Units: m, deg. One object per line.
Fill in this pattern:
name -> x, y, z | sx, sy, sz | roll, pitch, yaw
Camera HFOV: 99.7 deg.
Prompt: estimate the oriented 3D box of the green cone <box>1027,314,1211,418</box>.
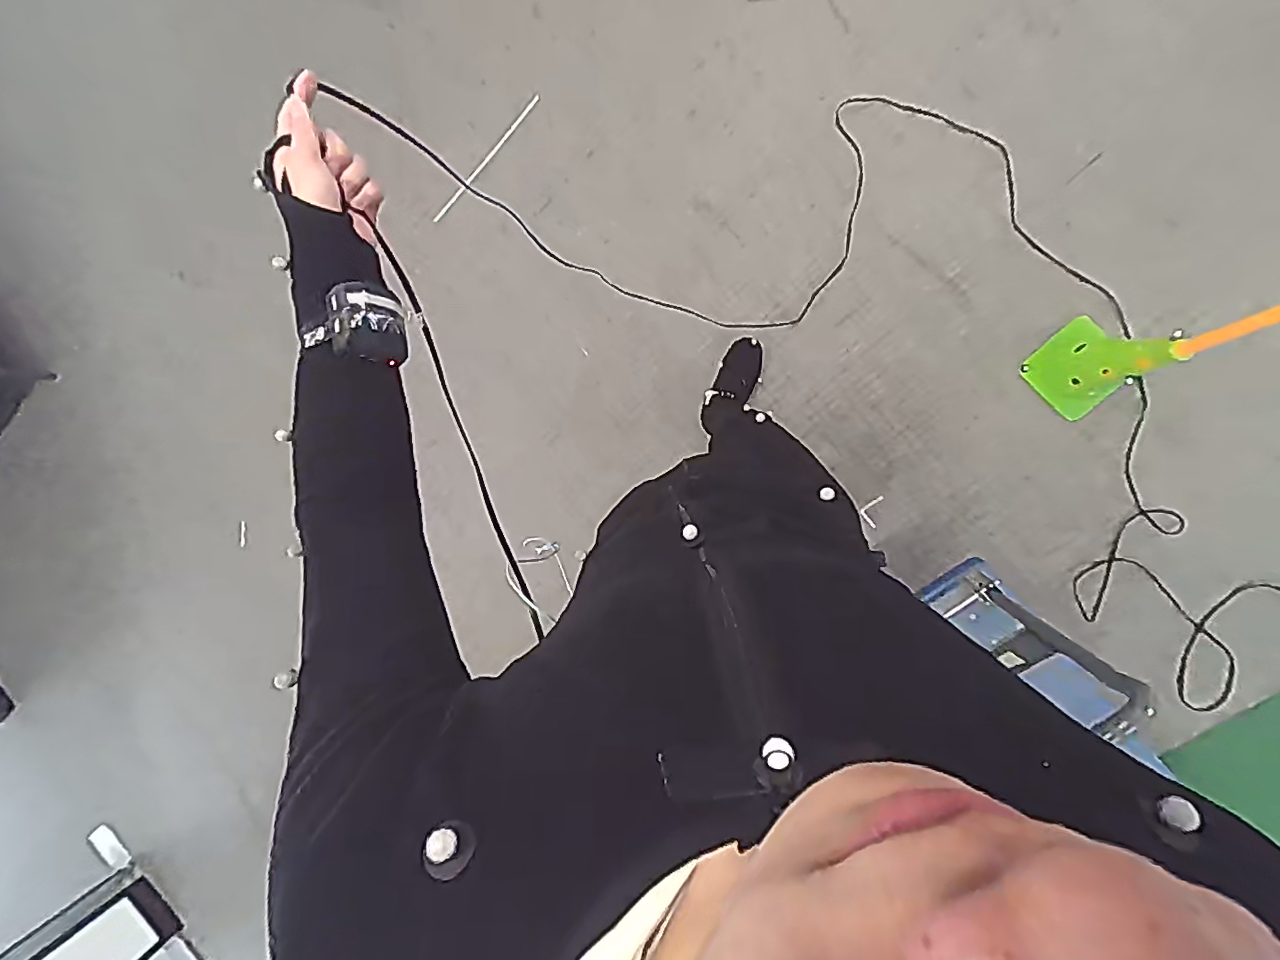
green cone -> 1.077, -0.267, 1.184 | 0.200, 0.368, 0.202 | 46, 102, 4
